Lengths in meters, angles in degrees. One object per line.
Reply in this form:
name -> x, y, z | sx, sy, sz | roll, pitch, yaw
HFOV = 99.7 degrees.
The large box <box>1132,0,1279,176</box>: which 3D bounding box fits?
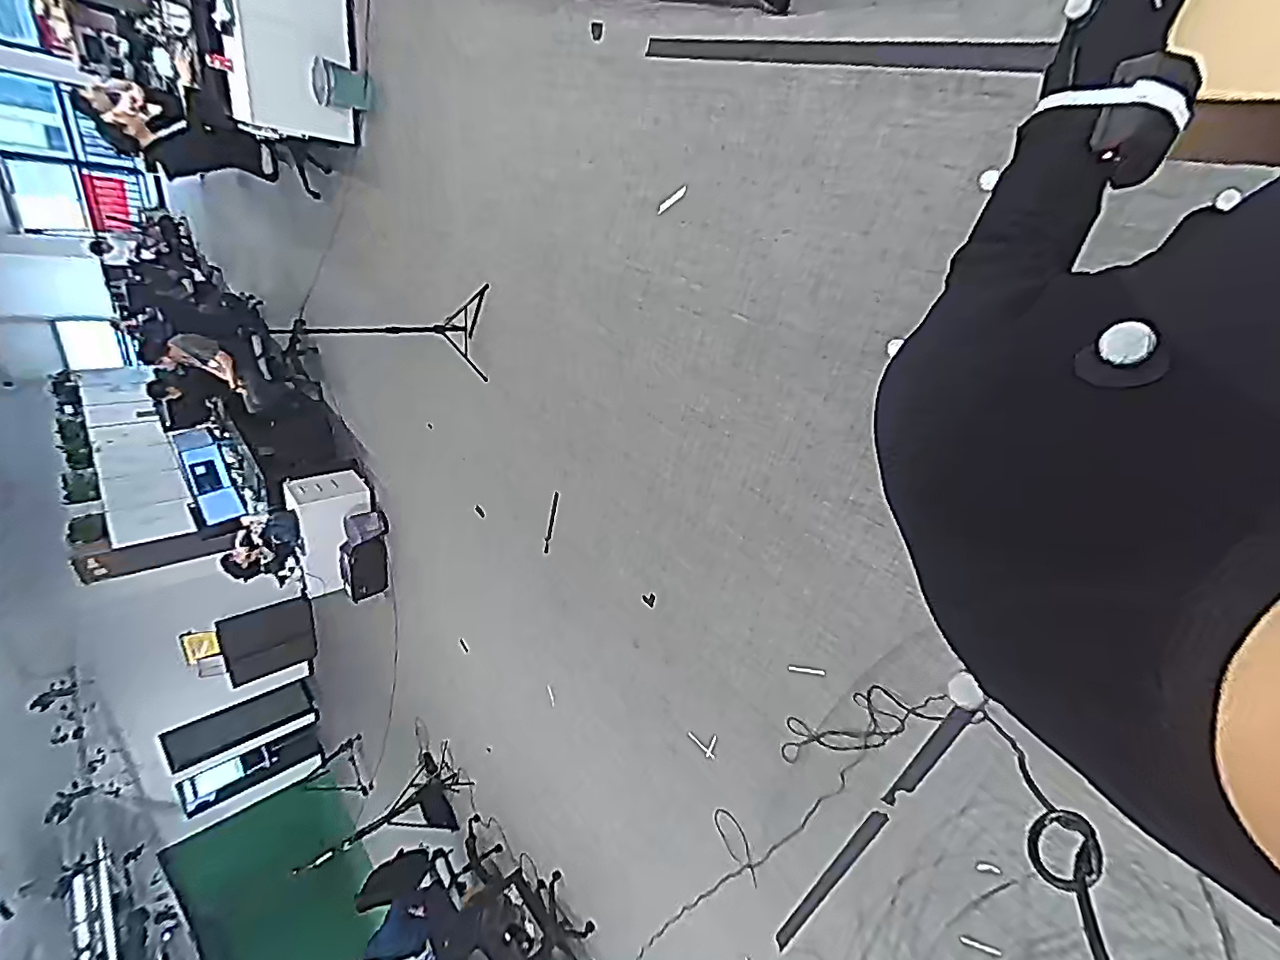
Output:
large box -> 0.637, -0.384, 0.345 | 0.408, 0.320, 0.320 | 26, 123, 32
